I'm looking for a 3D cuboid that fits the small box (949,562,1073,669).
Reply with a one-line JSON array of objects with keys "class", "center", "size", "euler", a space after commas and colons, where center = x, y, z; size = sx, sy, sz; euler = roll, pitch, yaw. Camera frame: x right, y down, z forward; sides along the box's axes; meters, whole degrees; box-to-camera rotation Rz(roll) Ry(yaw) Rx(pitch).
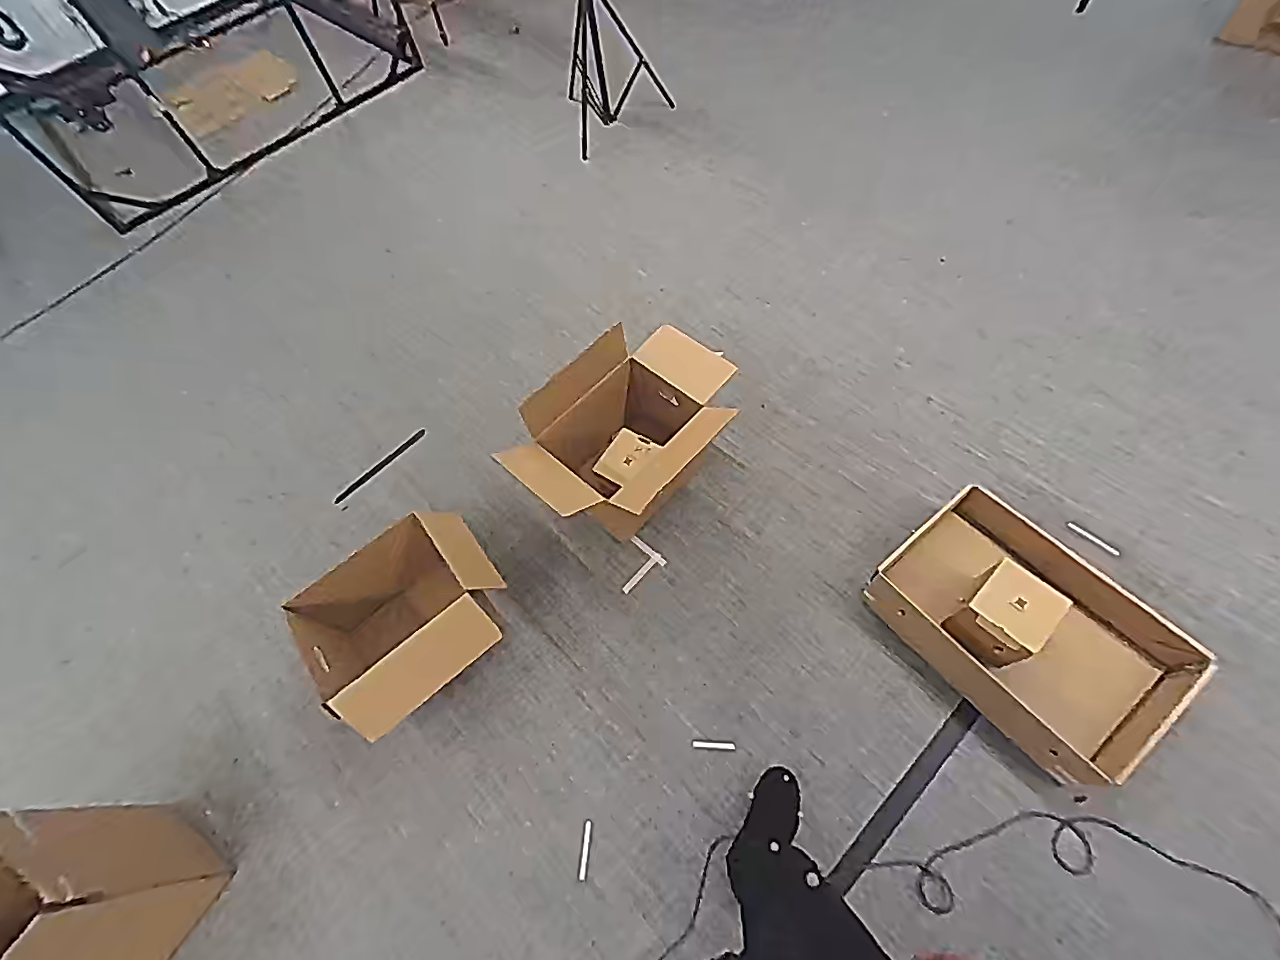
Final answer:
[{"class": "small box", "center": [0.900, 0.340, 1.334], "size": [0.179, 0.176, 0.168], "euler": [-41, 65, -15]}]
